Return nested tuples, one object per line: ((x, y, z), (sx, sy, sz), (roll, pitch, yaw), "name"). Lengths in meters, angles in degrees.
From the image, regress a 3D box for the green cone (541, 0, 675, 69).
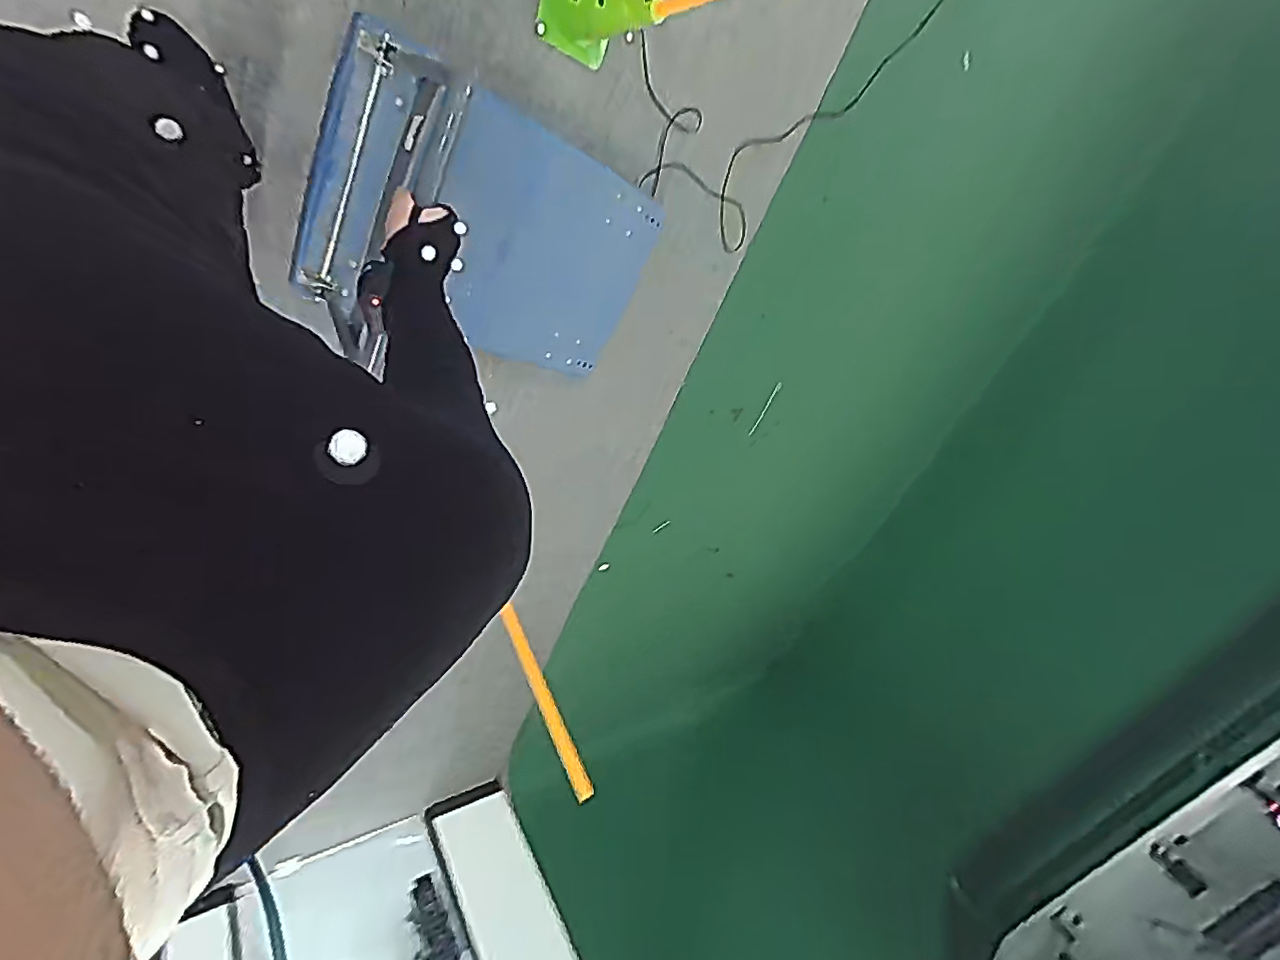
((-0.041, -1.068, 1.219), (0.200, 0.368, 0.202), (-3, 125, -41), "green cone")
